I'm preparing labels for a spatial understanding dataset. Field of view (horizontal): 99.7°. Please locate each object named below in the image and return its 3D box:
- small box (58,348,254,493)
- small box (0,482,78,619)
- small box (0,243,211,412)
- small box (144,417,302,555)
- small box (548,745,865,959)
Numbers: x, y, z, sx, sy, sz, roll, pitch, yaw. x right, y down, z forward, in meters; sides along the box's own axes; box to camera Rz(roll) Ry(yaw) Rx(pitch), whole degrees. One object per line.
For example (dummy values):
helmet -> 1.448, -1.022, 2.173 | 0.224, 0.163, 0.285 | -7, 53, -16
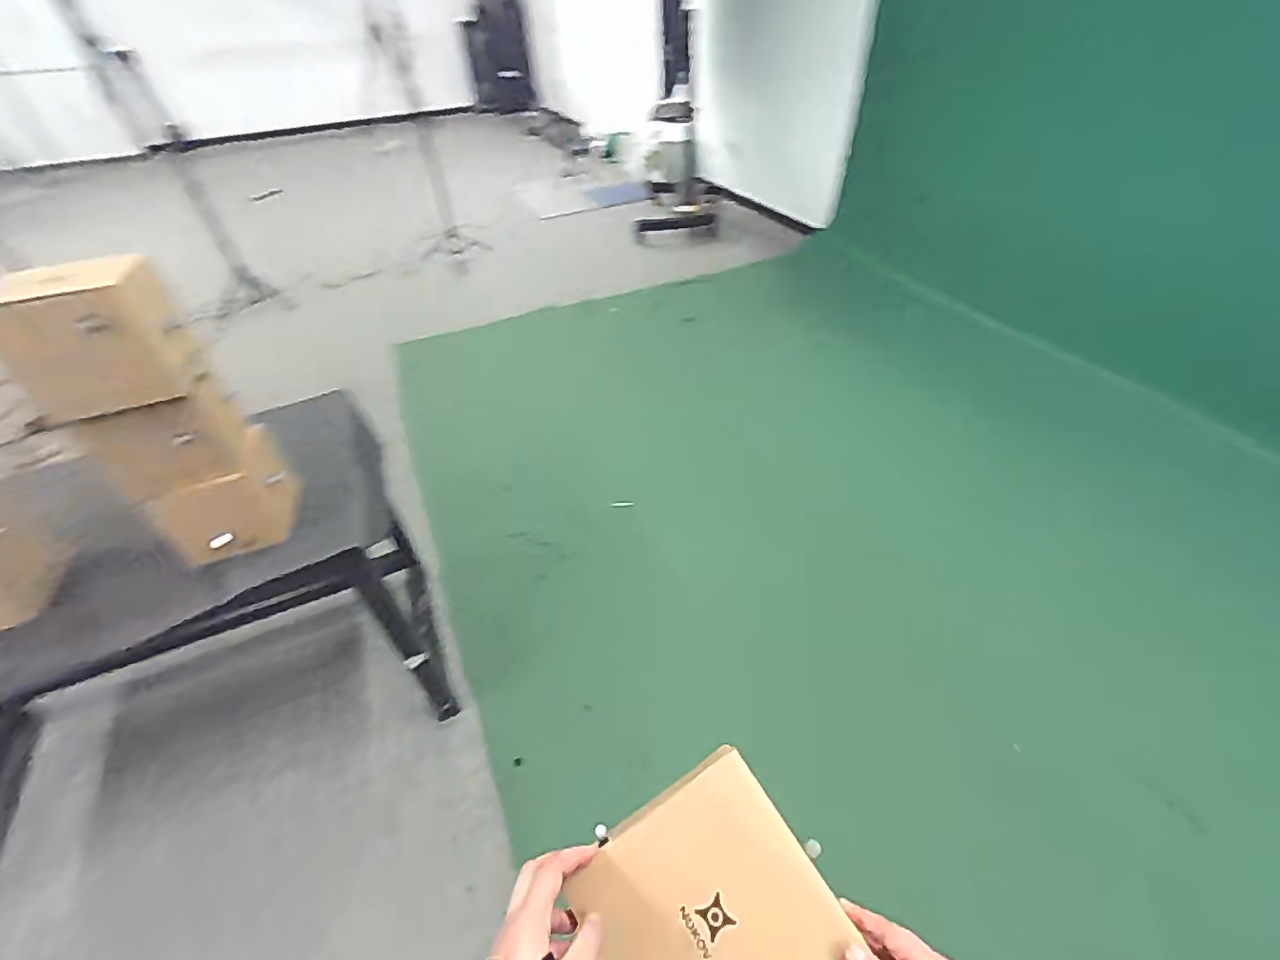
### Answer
small box -> -0.788, -0.108, 0.909 | 0.179, 0.176, 0.168 | -22, 42, -16
small box -> -1.137, 0.136, 0.913 | 0.179, 0.176, 0.168 | -18, 44, -14
small box -> -0.779, -0.224, 0.789 | 0.179, 0.176, 0.168 | -17, 41, -13
small box -> -0.768, 0.010, 1.018 | 0.168, 0.176, 0.179 | -15, 43, -11
small box -> 0.051, 0.353, 0.465 | 0.179, 0.176, 0.168 | -35, 67, -8
